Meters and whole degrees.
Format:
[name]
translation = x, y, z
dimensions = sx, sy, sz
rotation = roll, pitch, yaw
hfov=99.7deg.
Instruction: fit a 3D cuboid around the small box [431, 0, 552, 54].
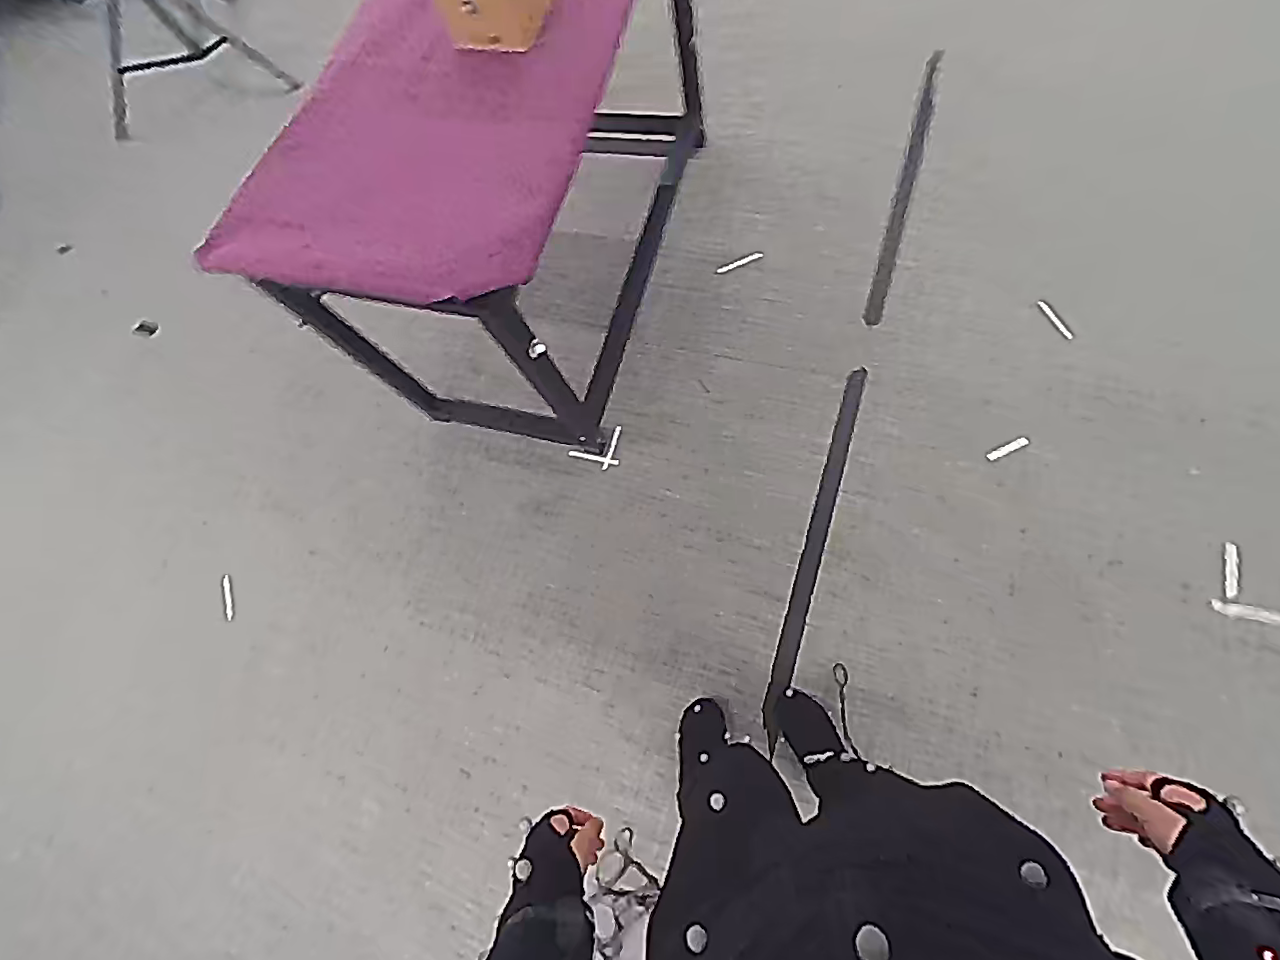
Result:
[small box]
translation = -0.282, -0.933, 1.000
dimensions = 0.168, 0.176, 0.179
rotation = 16, 76, 16
